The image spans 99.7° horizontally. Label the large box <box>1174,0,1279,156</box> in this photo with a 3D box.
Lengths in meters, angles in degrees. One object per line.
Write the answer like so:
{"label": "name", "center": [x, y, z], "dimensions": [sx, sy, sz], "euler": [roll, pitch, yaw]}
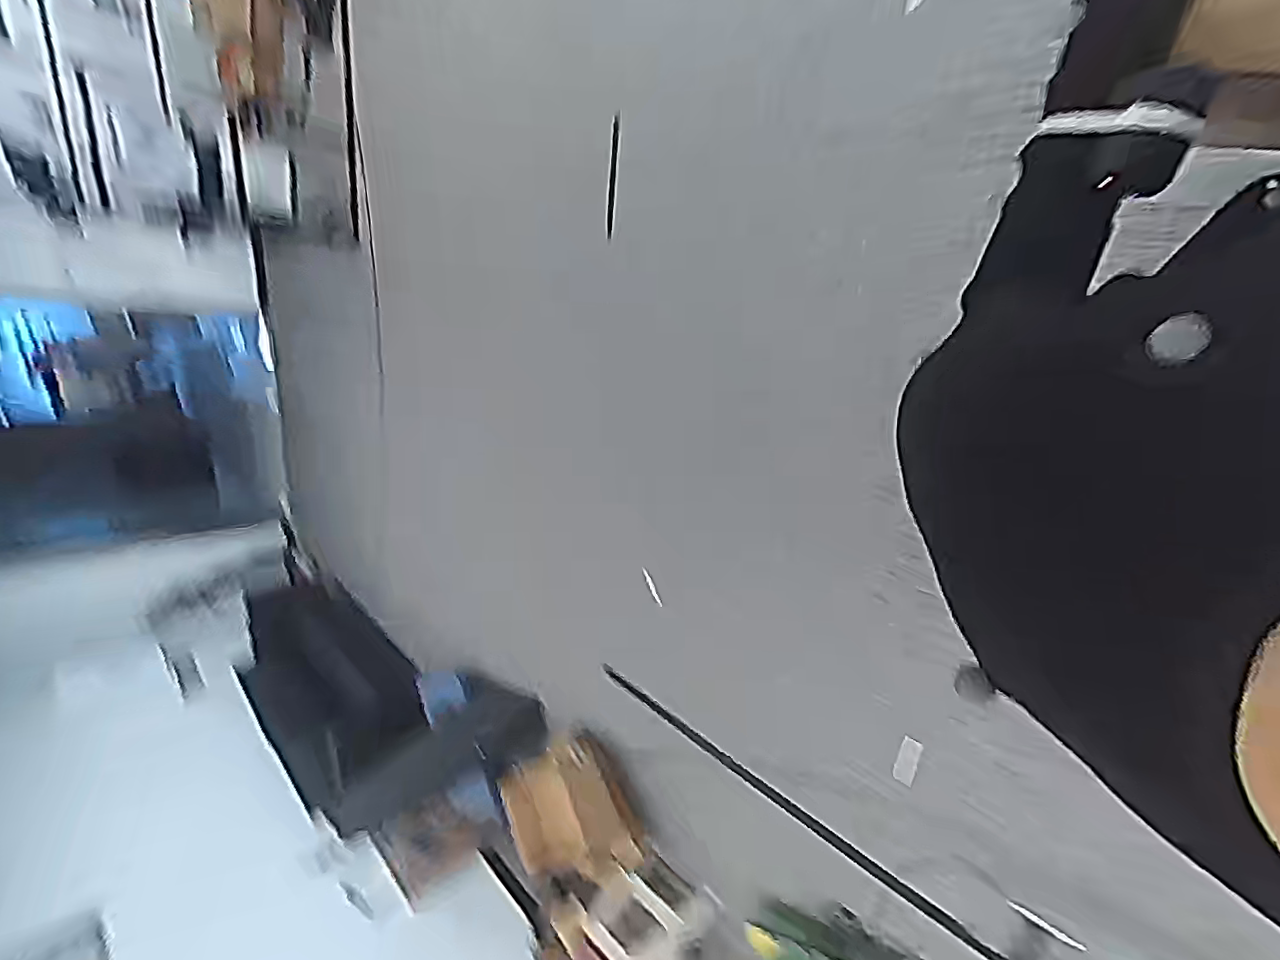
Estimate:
{"label": "large box", "center": [0.606, -0.363, 0.274], "dimensions": [0.408, 0.320, 0.320], "euler": [29, 125, 36]}
